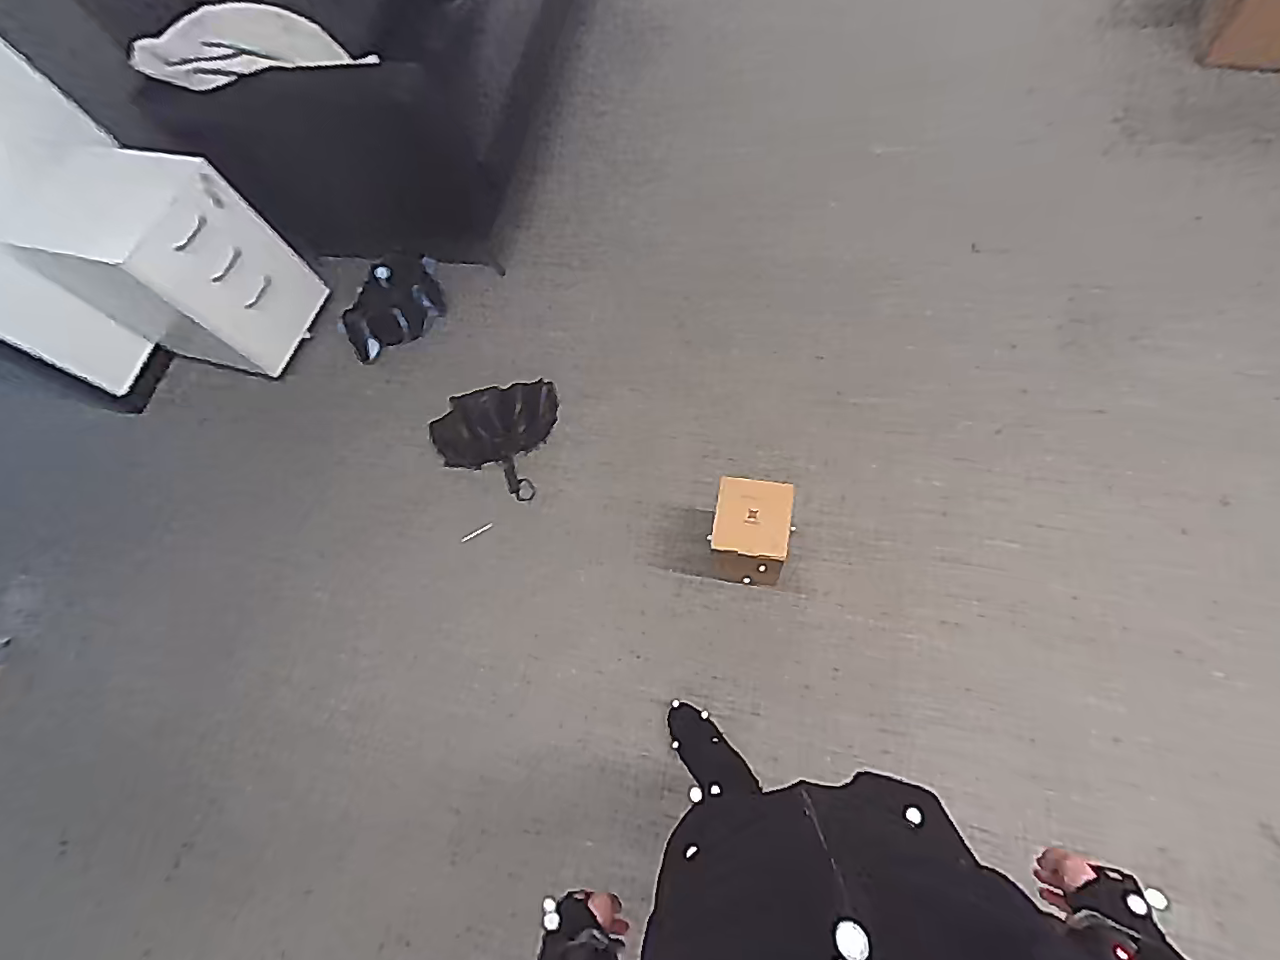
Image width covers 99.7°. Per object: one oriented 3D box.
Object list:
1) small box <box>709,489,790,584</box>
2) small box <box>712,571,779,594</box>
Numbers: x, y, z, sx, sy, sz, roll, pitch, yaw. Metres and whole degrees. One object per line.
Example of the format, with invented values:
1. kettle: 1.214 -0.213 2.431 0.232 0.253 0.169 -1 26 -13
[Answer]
1. small box: 0.258 0.139 1.280 0.168 0.176 0.179 6 68 11
2. small box: 0.285 0.198 1.429 0.168 0.176 0.179 4 69 11
